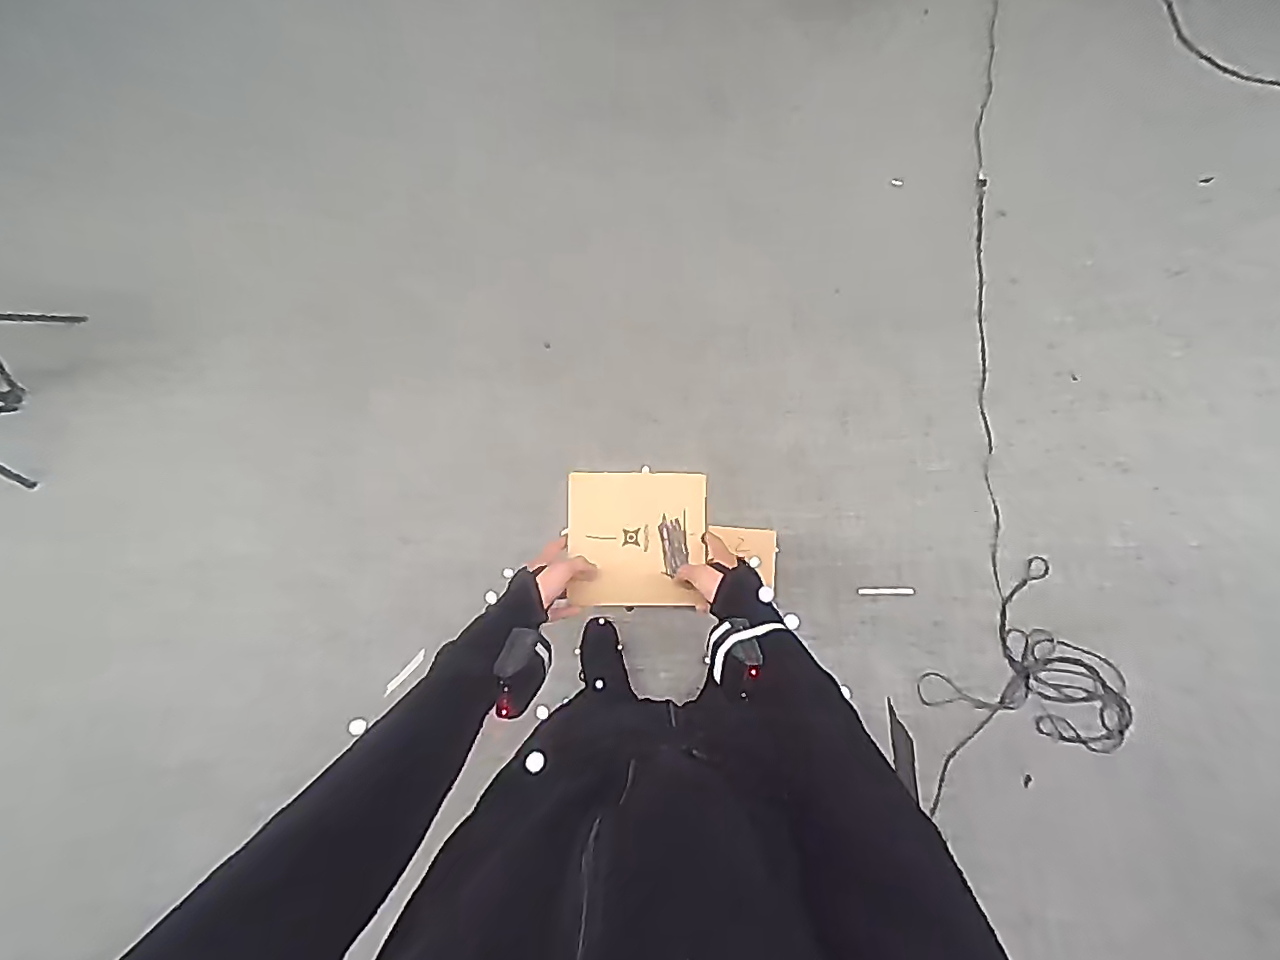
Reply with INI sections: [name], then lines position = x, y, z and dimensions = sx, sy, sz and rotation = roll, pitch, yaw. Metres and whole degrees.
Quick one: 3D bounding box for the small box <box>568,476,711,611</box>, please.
[small box]
position = -0.004, 0.087, 0.745
dimensions = 0.179, 0.176, 0.168
rotation = 1, 83, -3
